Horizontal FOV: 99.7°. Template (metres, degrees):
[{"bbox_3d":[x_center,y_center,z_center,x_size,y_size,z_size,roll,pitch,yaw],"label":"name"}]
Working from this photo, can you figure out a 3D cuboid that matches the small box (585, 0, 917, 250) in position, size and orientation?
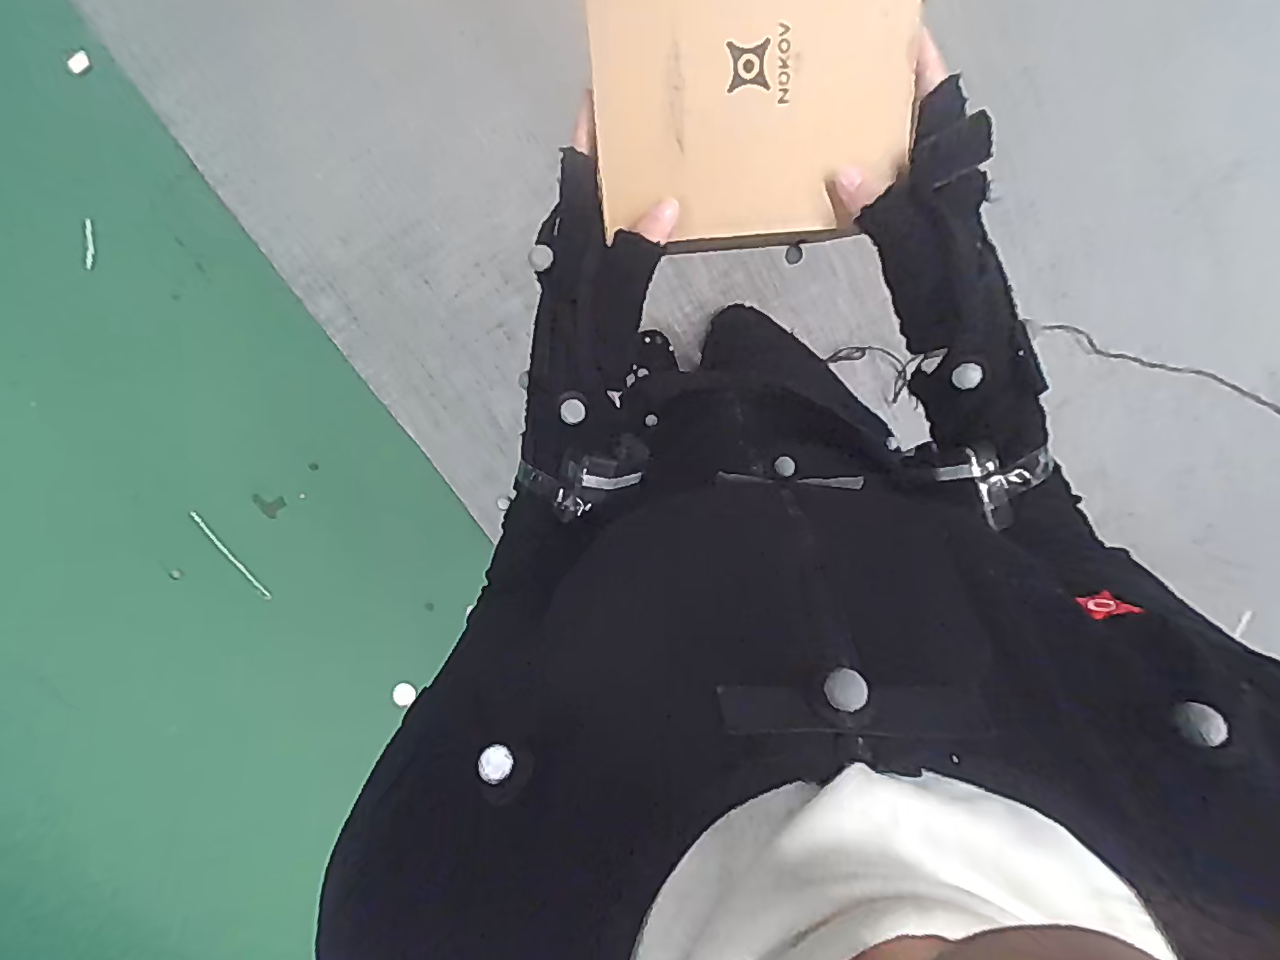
[{"bbox_3d":[0.060,-0.254,0.364,0.179,0.176,0.168,-5,108,2],"label":"small box"}]

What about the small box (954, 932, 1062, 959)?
[{"bbox_3d":[0.653,0.886,0.879,0.168,0.176,0.179,-34,103,12],"label":"small box"}]
